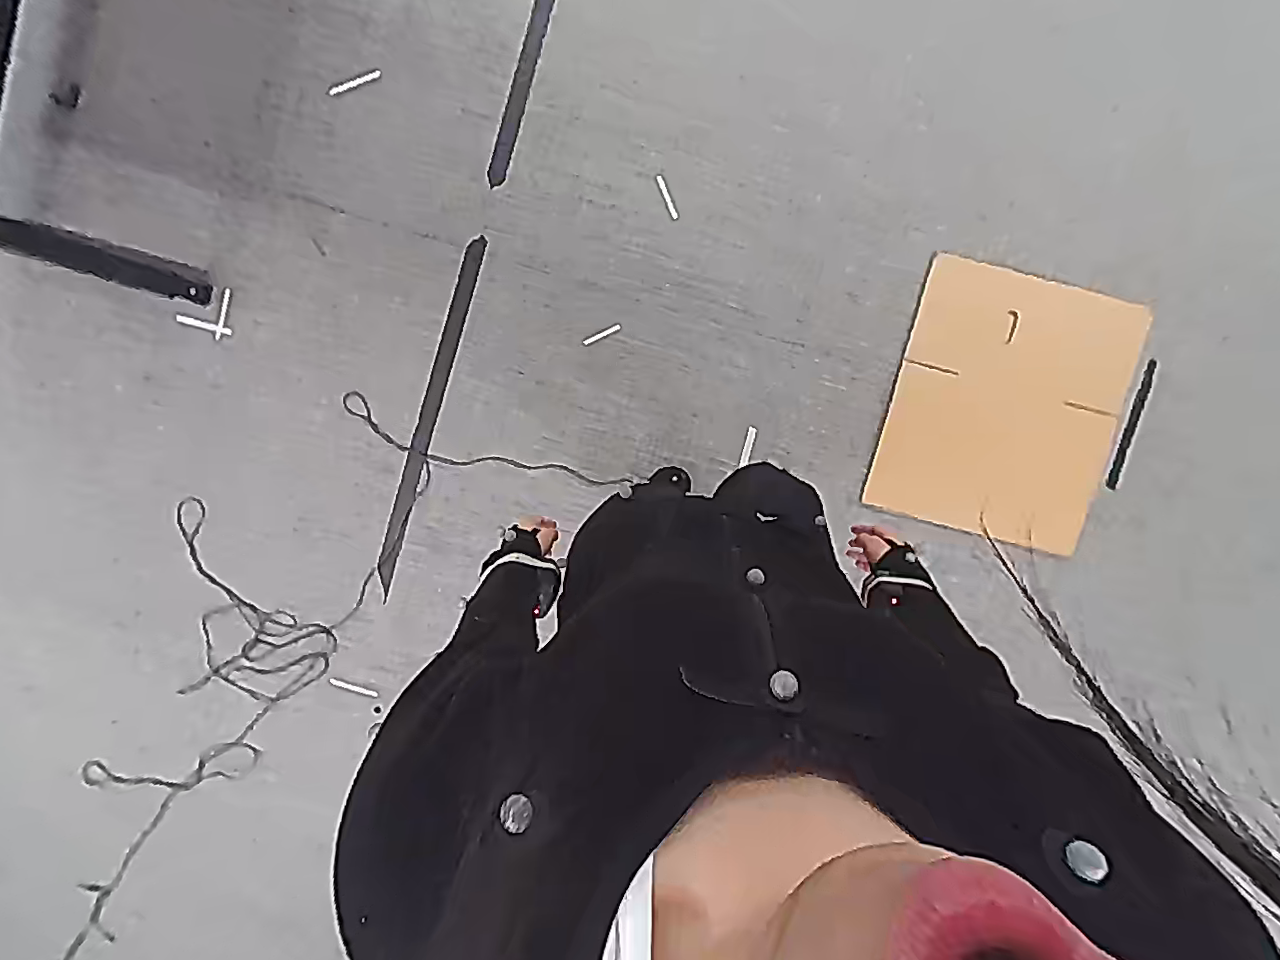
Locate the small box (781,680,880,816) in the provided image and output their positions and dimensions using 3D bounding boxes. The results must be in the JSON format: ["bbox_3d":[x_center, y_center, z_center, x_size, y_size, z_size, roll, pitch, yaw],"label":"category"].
[{"bbox_3d":[0.421,0.560,1.140,0.168,0.176,0.179,-25,94,3],"label":"small box"}]
